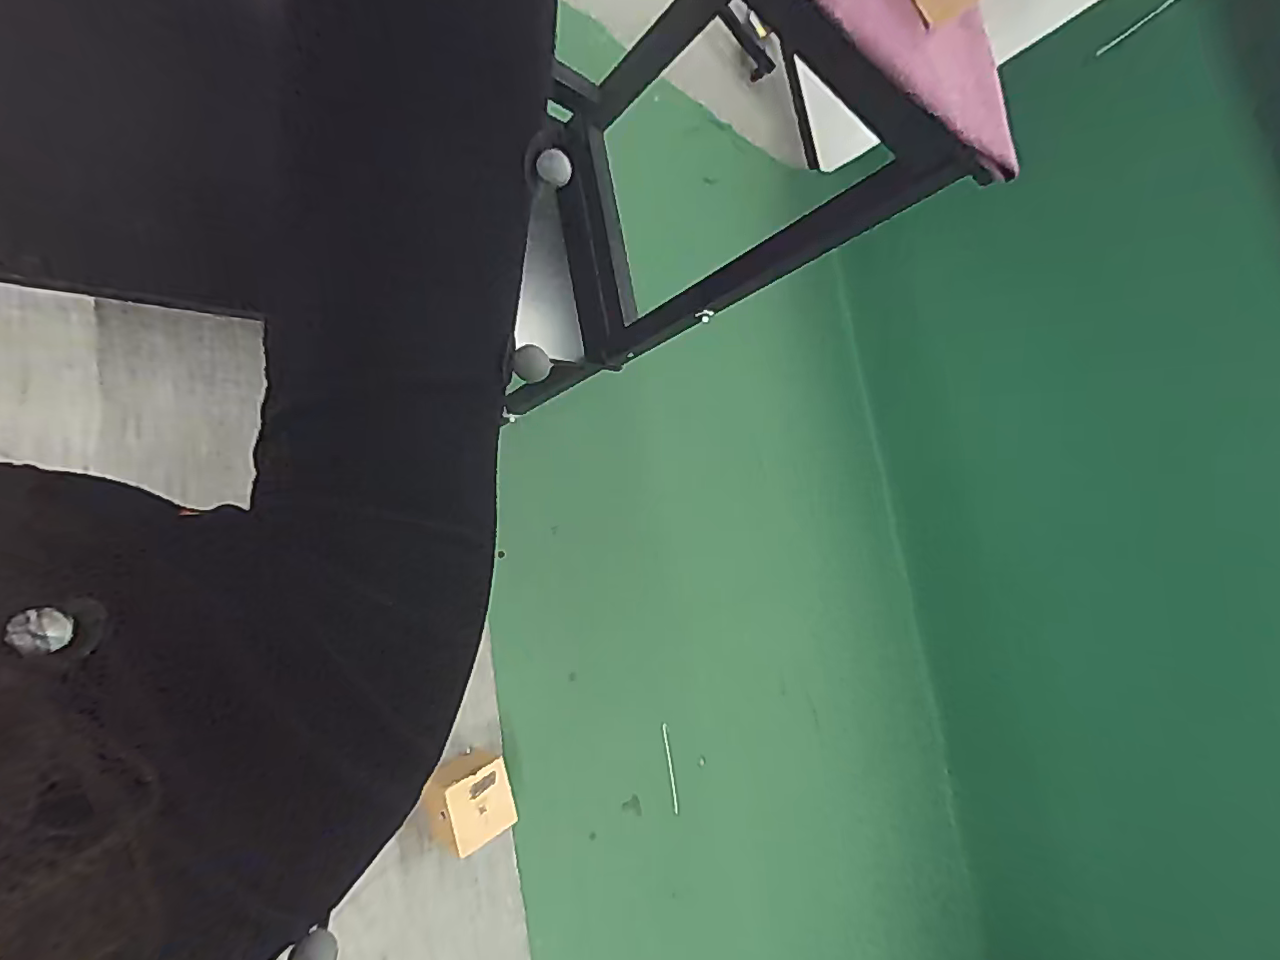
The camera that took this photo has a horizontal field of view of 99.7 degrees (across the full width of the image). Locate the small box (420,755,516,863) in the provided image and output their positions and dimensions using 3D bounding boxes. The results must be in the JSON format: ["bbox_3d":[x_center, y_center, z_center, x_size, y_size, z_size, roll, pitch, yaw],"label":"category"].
[{"bbox_3d":[-0.454,0.846,1.416,0.168,0.176,0.179,-11,87,-44],"label":"small box"}]
